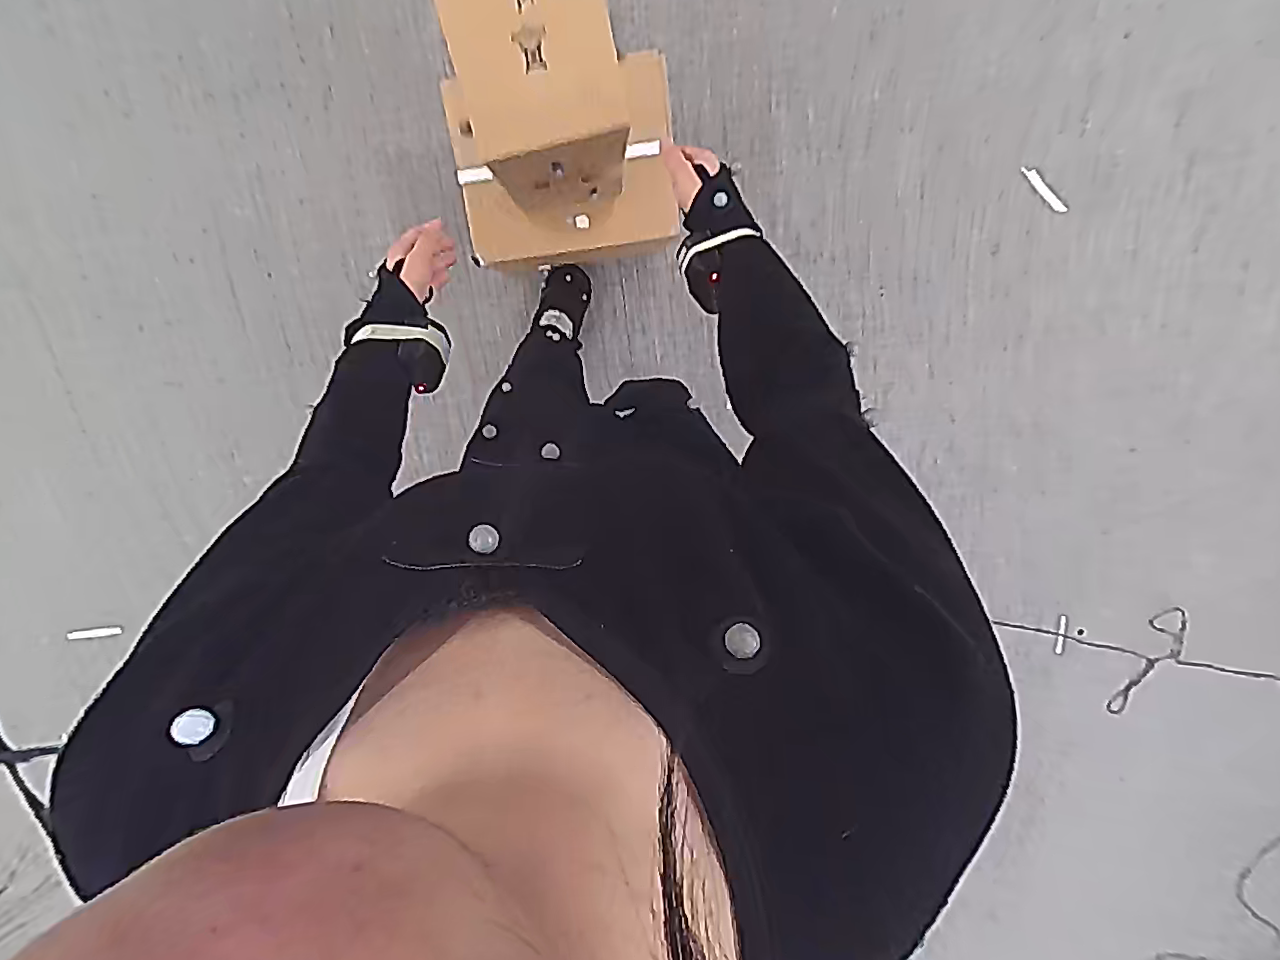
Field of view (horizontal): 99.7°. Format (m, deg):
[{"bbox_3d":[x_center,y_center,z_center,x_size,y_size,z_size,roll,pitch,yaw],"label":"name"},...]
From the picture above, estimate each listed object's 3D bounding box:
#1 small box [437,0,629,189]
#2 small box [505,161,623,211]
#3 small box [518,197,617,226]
[{"bbox_3d":[-0.113,-0.455,0.628,0.168,0.176,0.179,-14,109,-1],"label":"small box"},{"bbox_3d":[-0.119,-0.503,0.786,0.168,0.176,0.179,-10,107,-2],"label":"small box"},{"bbox_3d":[-0.135,-0.557,0.938,0.168,0.176,0.179,-8,108,-1],"label":"small box"}]
